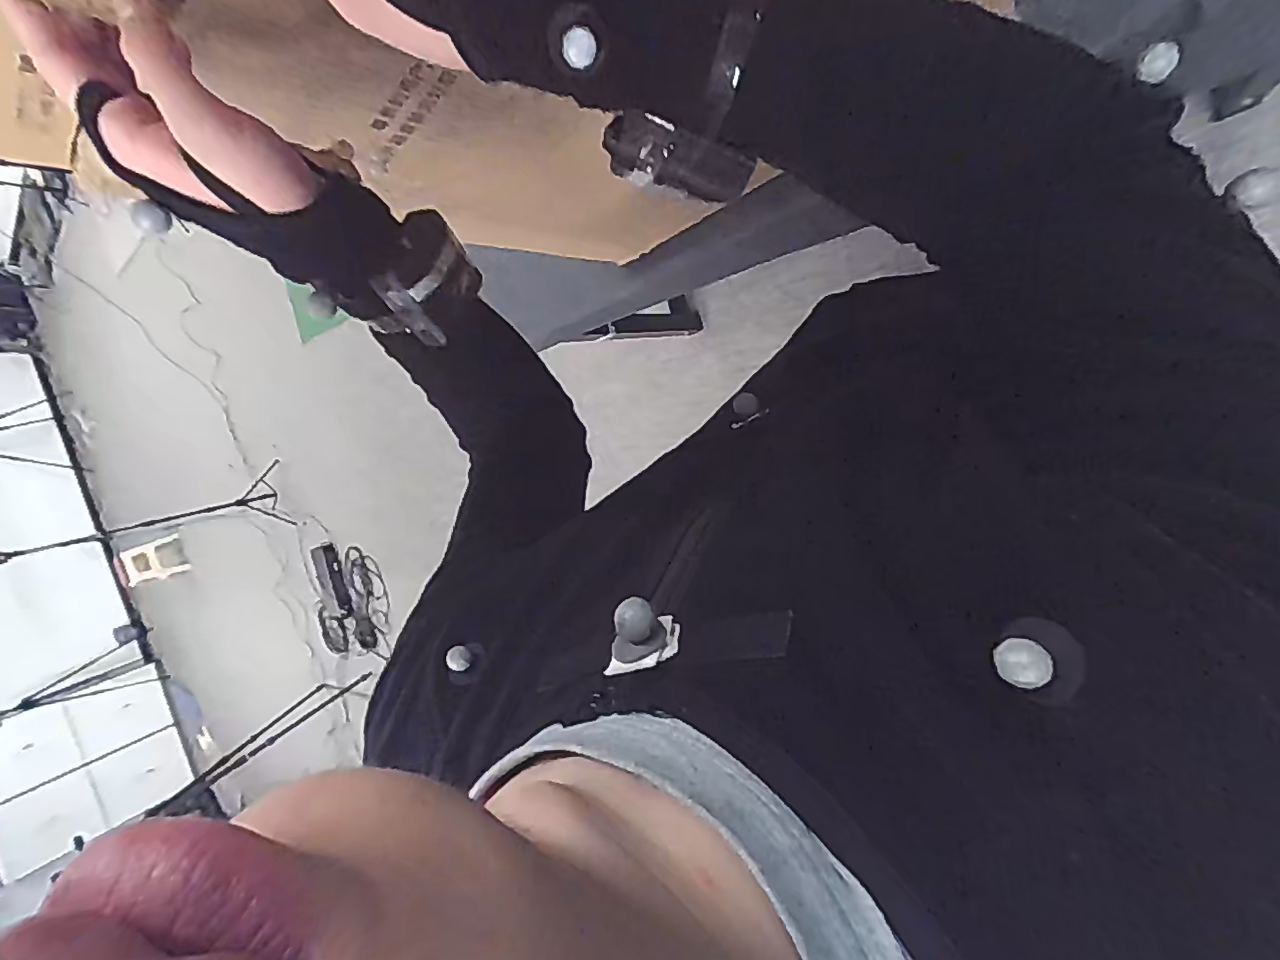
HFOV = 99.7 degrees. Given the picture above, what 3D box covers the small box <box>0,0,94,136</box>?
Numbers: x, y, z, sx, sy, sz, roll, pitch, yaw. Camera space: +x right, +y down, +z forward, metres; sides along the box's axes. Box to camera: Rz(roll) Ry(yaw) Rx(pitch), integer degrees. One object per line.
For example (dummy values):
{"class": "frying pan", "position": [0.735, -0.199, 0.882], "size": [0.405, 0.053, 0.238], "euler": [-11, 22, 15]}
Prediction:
{"class": "small box", "position": [-0.406, -0.296, 0.255], "size": [0.168, 0.176, 0.179], "euler": [-12, 97, 39]}
